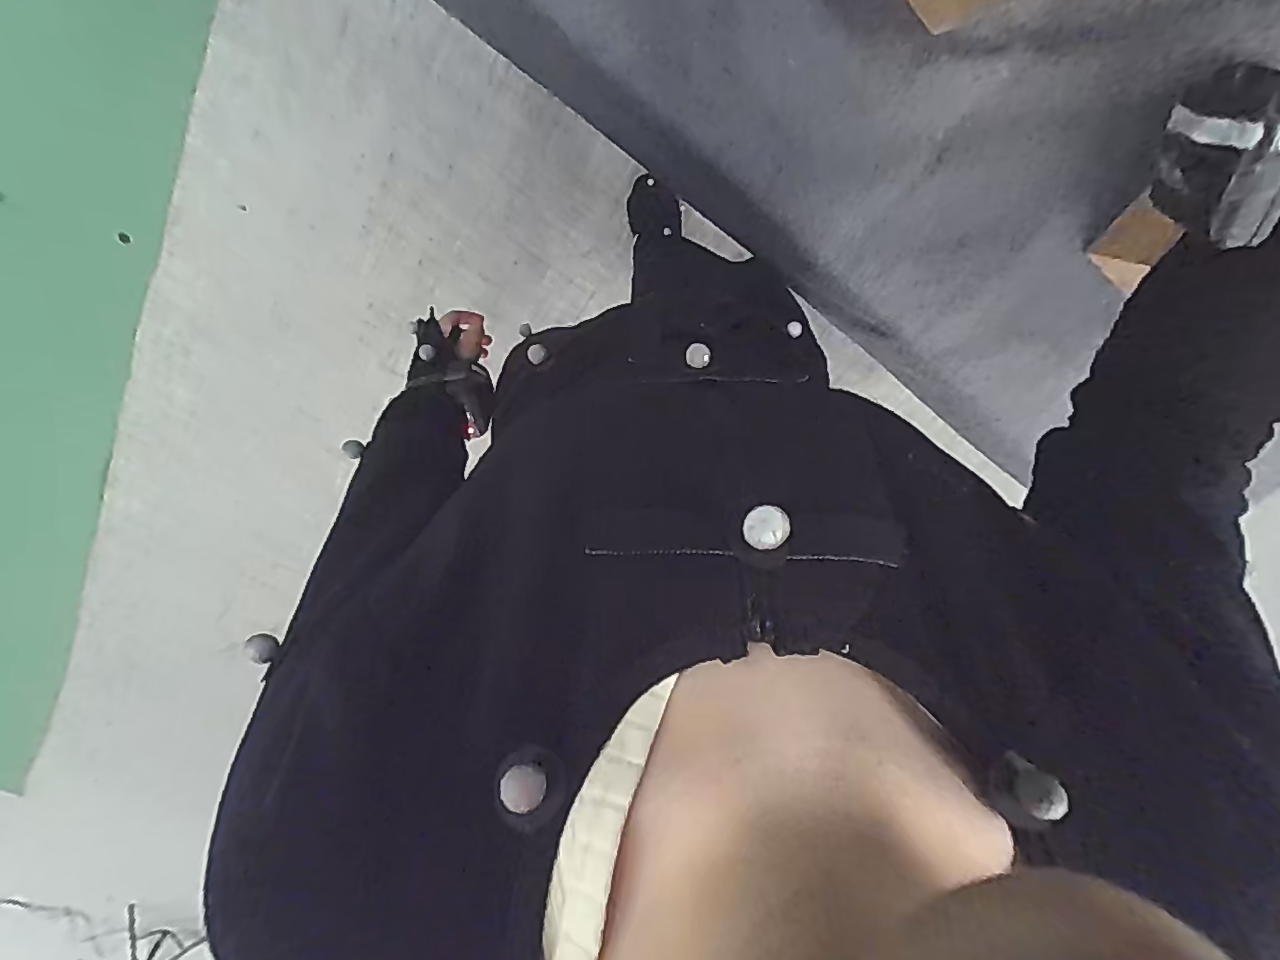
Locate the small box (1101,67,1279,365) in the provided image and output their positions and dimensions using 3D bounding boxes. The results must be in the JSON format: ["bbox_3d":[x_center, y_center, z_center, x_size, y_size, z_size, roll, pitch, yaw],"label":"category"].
[{"bbox_3d":[0.545,-0.213,0.450,0.168,0.176,0.179,29,116,-18],"label":"small box"}]
